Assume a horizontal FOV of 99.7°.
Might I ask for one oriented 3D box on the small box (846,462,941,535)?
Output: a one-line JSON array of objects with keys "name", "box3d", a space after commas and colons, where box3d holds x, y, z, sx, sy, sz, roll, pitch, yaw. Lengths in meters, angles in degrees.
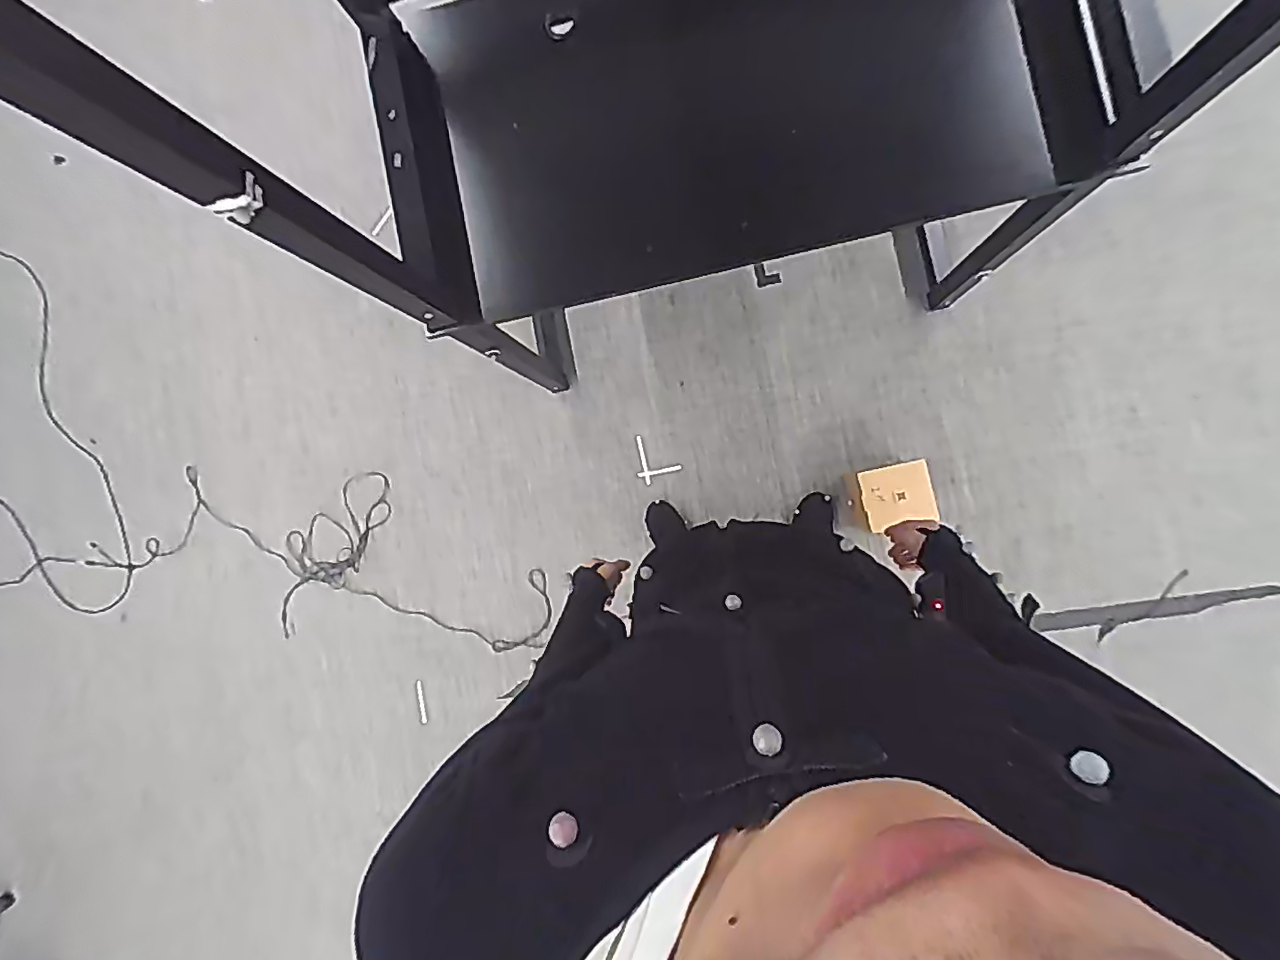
[{"name": "small box", "box3d": [0.686, 0.048, 1.479, 0.179, 0.176, 0.168, -13, 87, 9]}]
